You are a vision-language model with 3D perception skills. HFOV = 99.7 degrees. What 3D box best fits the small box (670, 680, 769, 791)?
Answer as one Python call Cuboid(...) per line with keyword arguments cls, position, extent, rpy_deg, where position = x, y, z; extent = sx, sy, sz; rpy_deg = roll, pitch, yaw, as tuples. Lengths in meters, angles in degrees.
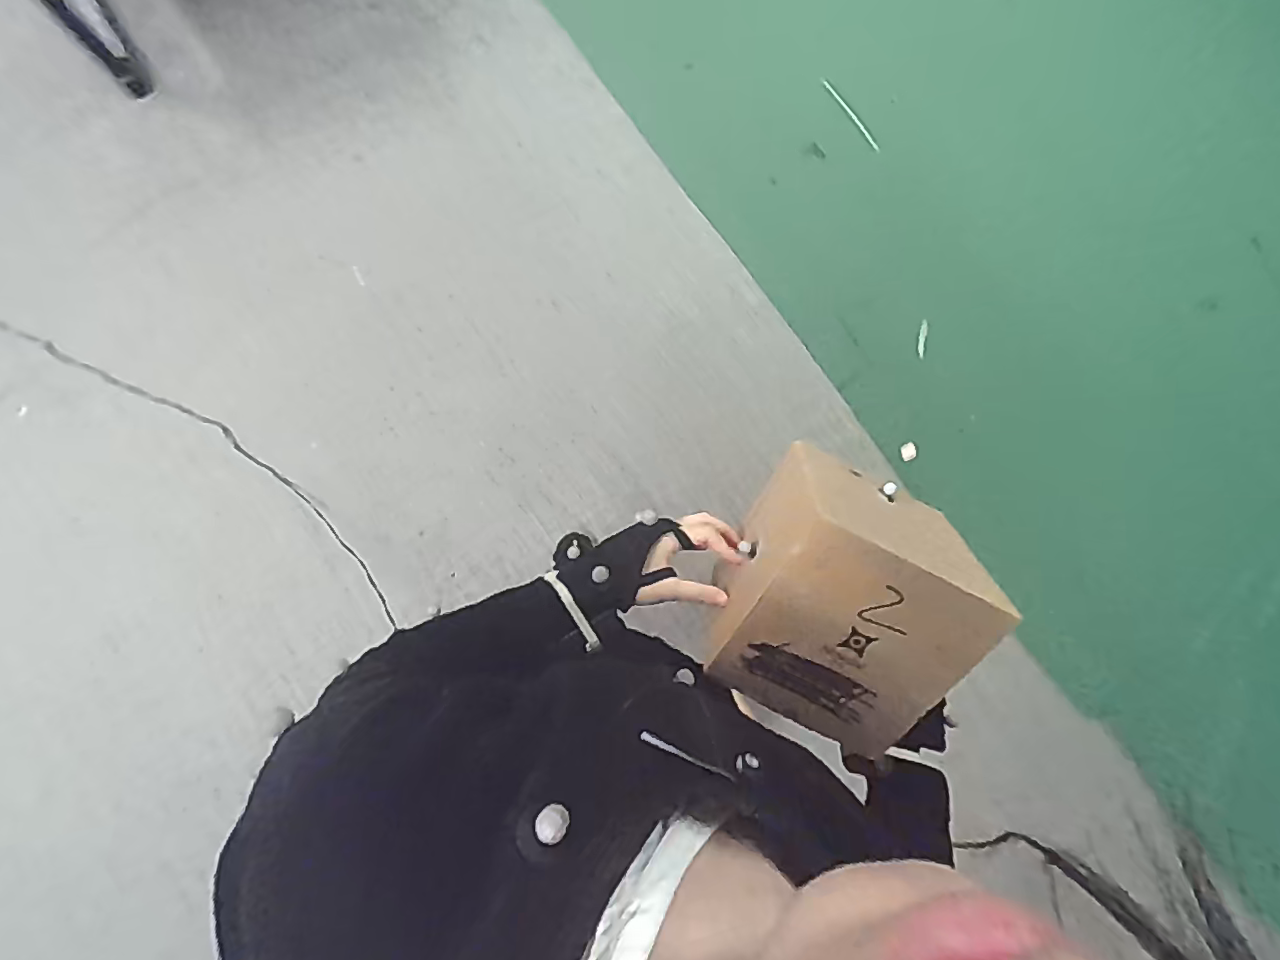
Cuboid(cls="small box", position=(0.196, 0.642, 1.385), extent=(0.168, 0.176, 0.179), rpy_deg=(-33, 84, -10))
